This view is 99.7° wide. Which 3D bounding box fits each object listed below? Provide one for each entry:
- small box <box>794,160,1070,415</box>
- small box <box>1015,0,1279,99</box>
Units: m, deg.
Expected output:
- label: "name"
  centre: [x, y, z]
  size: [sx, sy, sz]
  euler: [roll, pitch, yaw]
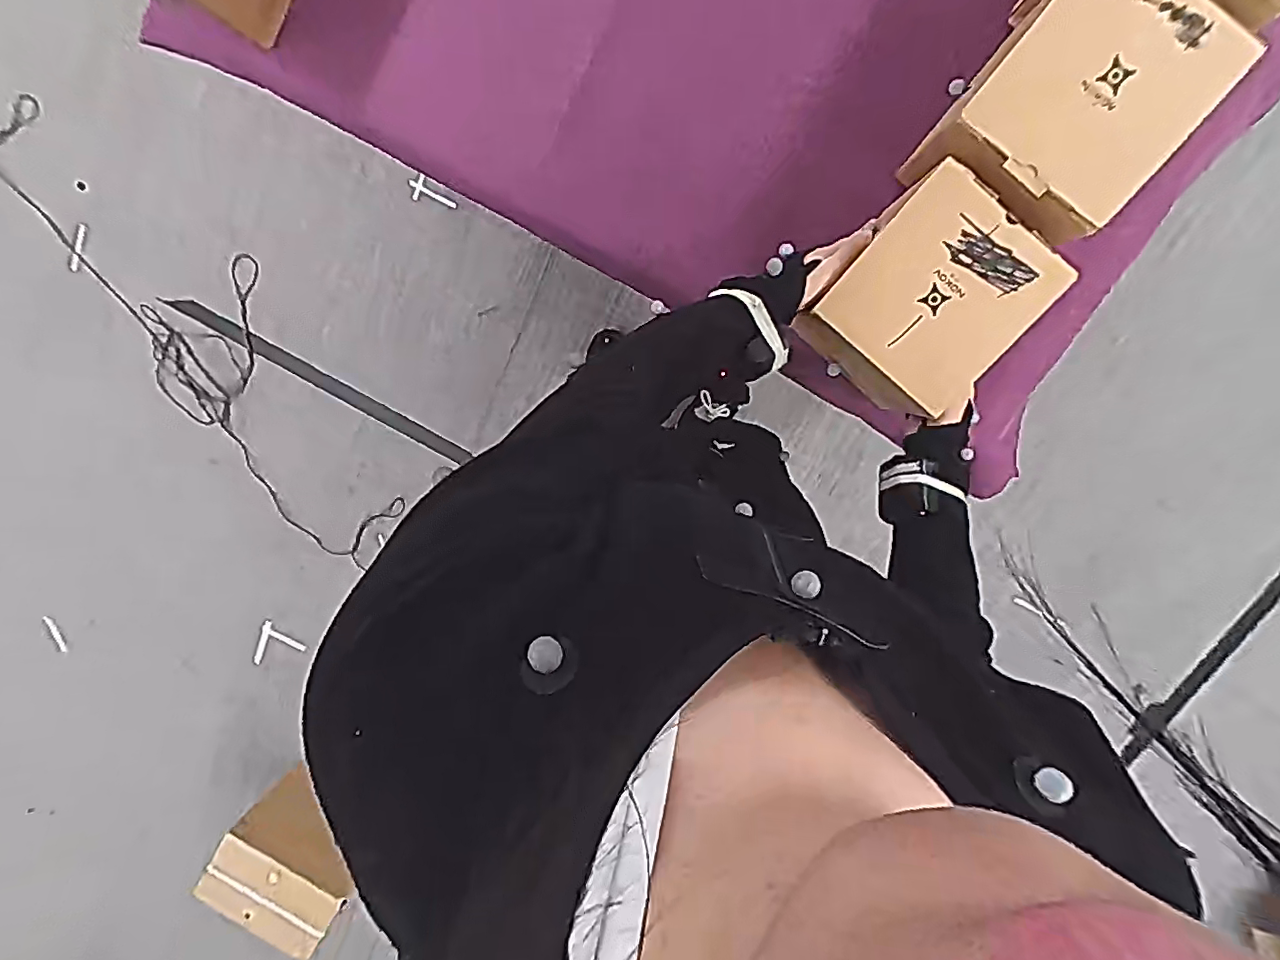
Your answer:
- label: "small box"
  centre: [0.292, -0.194, 0.591]
  size: [0.168, 0.176, 0.179]
  euler: [41, 103, -2]
- label: "small box"
  centre: [0.502, -0.509, 0.494]
  size: [0.168, 0.176, 0.179]
  euler: [32, 104, -2]
